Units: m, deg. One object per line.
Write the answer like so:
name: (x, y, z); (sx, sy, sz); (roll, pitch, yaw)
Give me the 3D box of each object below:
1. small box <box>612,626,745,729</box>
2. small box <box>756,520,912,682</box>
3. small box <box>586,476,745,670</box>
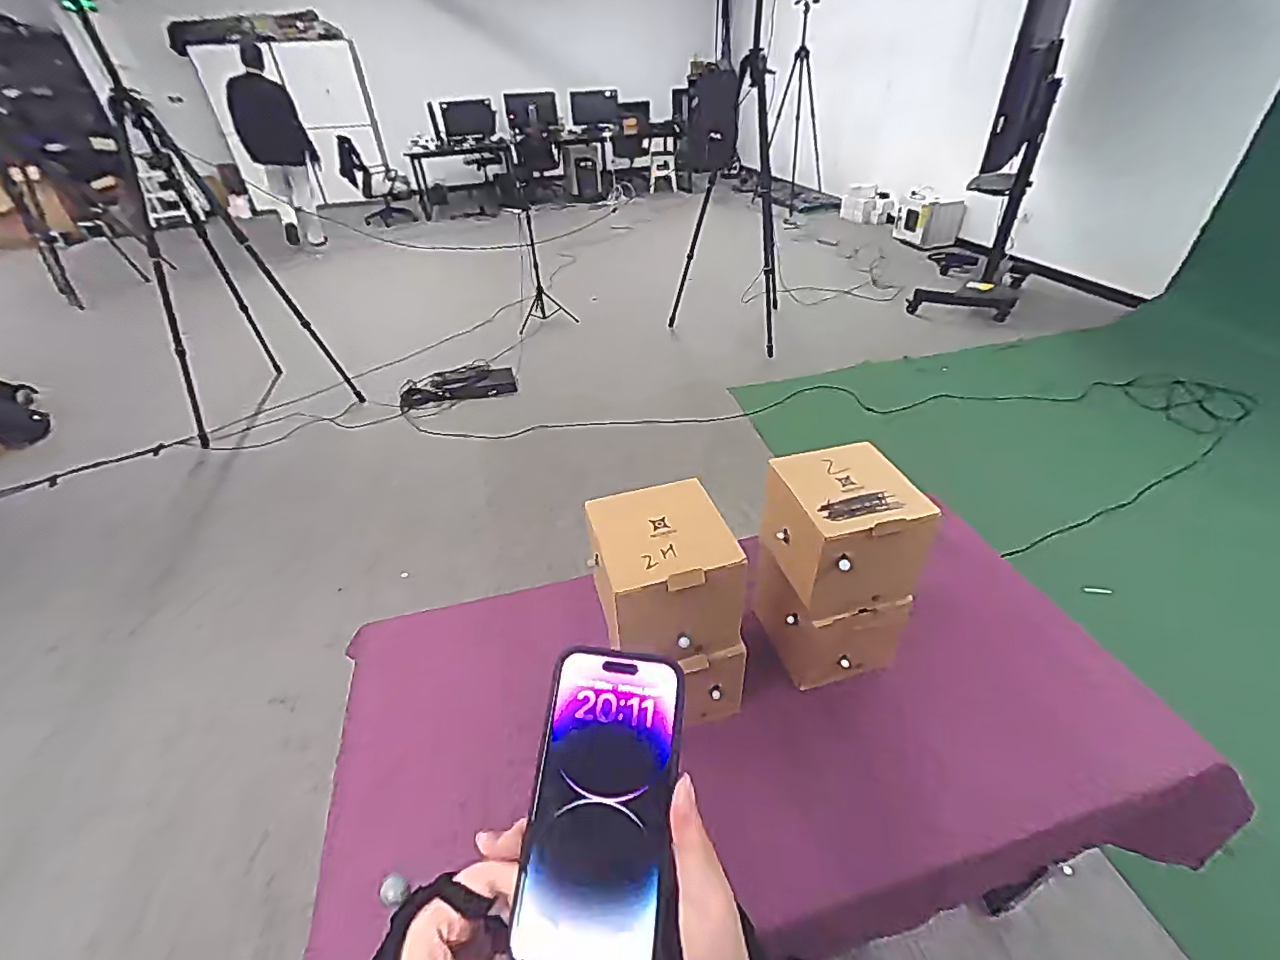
small box: (0.050, 0.257, 0.835); (0.168, 0.176, 0.179); (-12, 38, -11)
small box: (0.302, 0.196, 0.889); (0.168, 0.176, 0.179); (-12, 40, -10)
small box: (0.028, 0.124, 0.740); (0.168, 0.176, 0.179); (-13, 39, -11)
